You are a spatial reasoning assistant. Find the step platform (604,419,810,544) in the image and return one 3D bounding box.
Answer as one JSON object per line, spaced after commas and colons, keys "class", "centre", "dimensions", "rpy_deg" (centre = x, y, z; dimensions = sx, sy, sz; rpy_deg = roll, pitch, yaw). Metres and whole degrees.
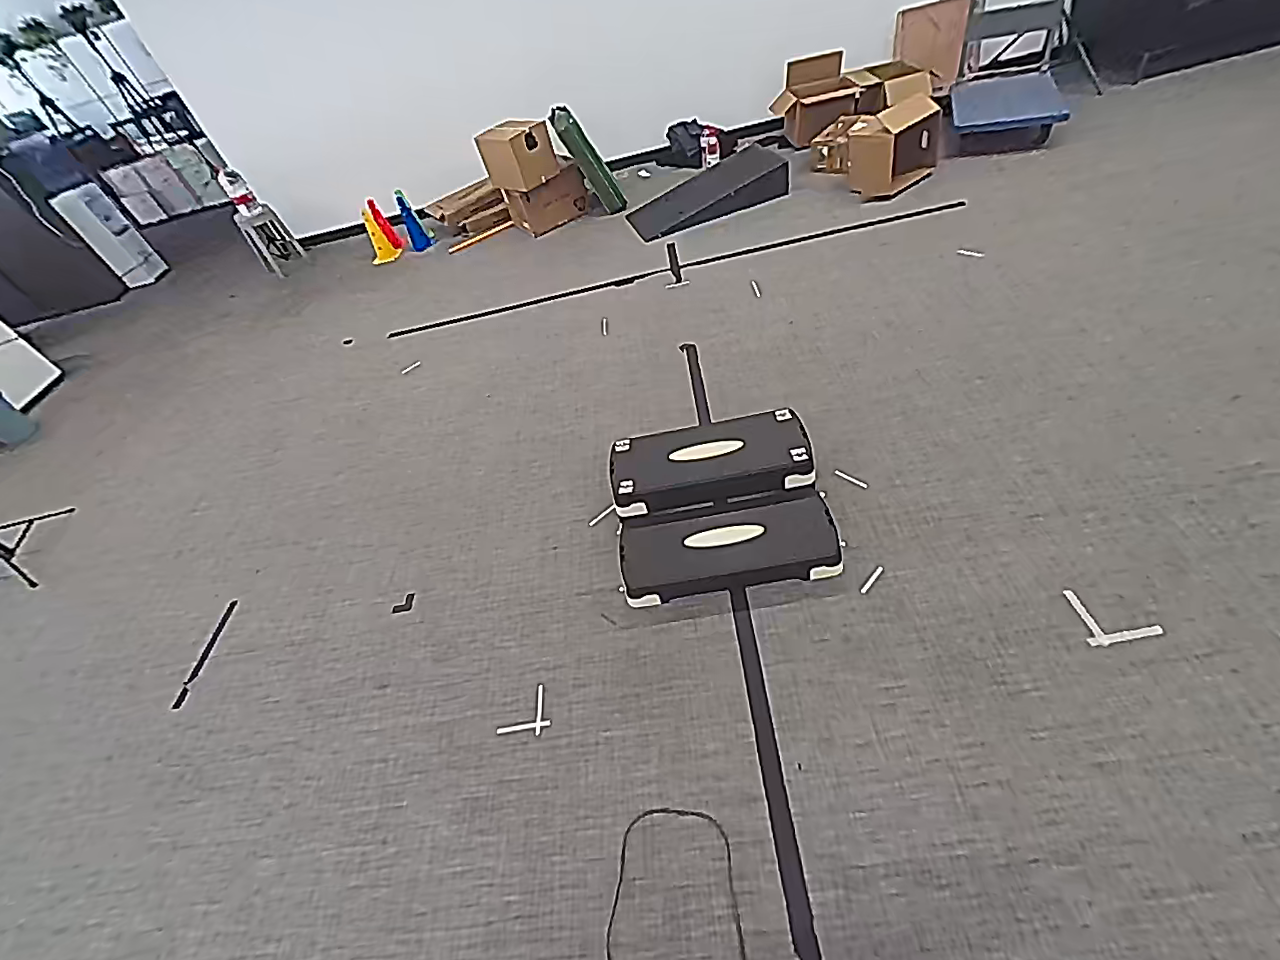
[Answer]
{"class": "step platform", "centre": [0.219, 0.001, 1.853], "dimensions": [0.684, 0.204, 0.286], "rpy_deg": [-11, 46, 5]}
